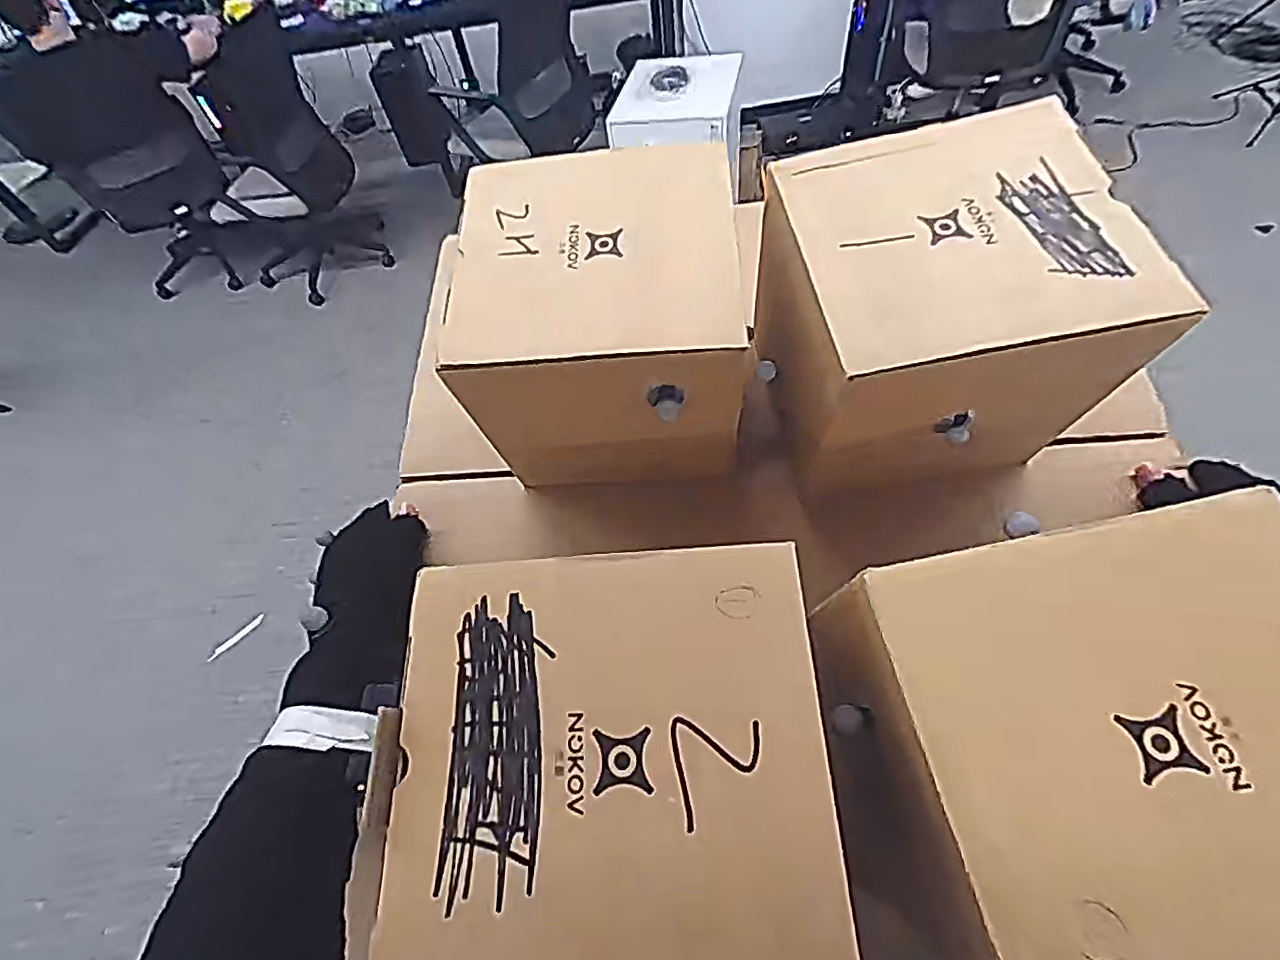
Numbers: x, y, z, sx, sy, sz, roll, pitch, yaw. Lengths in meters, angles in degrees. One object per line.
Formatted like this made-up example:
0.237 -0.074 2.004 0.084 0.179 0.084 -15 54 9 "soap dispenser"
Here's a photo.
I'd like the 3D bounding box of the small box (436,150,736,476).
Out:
-0.024 -0.111 0.412 0.179 0.176 0.168 -2 65 7 "small box"
